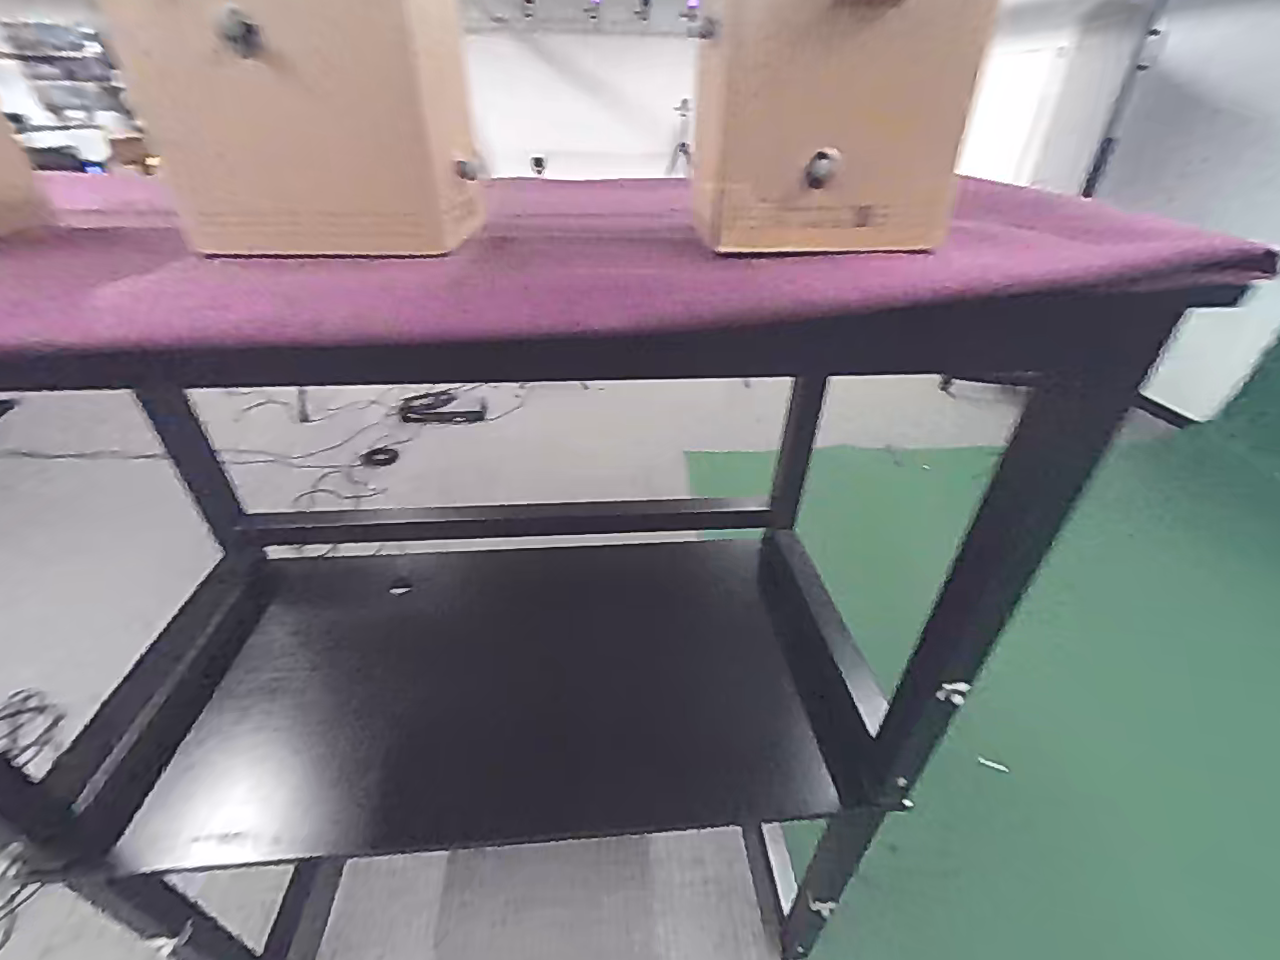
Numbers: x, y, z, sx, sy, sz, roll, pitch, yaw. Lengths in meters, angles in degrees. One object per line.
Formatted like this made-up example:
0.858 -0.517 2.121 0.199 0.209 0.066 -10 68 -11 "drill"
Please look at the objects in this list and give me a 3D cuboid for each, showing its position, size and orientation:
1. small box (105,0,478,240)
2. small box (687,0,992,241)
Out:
-0.232 -0.278 0.400 0.179 0.176 0.168 -1 33 -4 "small box"
0.127 -0.290 0.418 0.168 0.176 0.179 -2 33 -1 "small box"
